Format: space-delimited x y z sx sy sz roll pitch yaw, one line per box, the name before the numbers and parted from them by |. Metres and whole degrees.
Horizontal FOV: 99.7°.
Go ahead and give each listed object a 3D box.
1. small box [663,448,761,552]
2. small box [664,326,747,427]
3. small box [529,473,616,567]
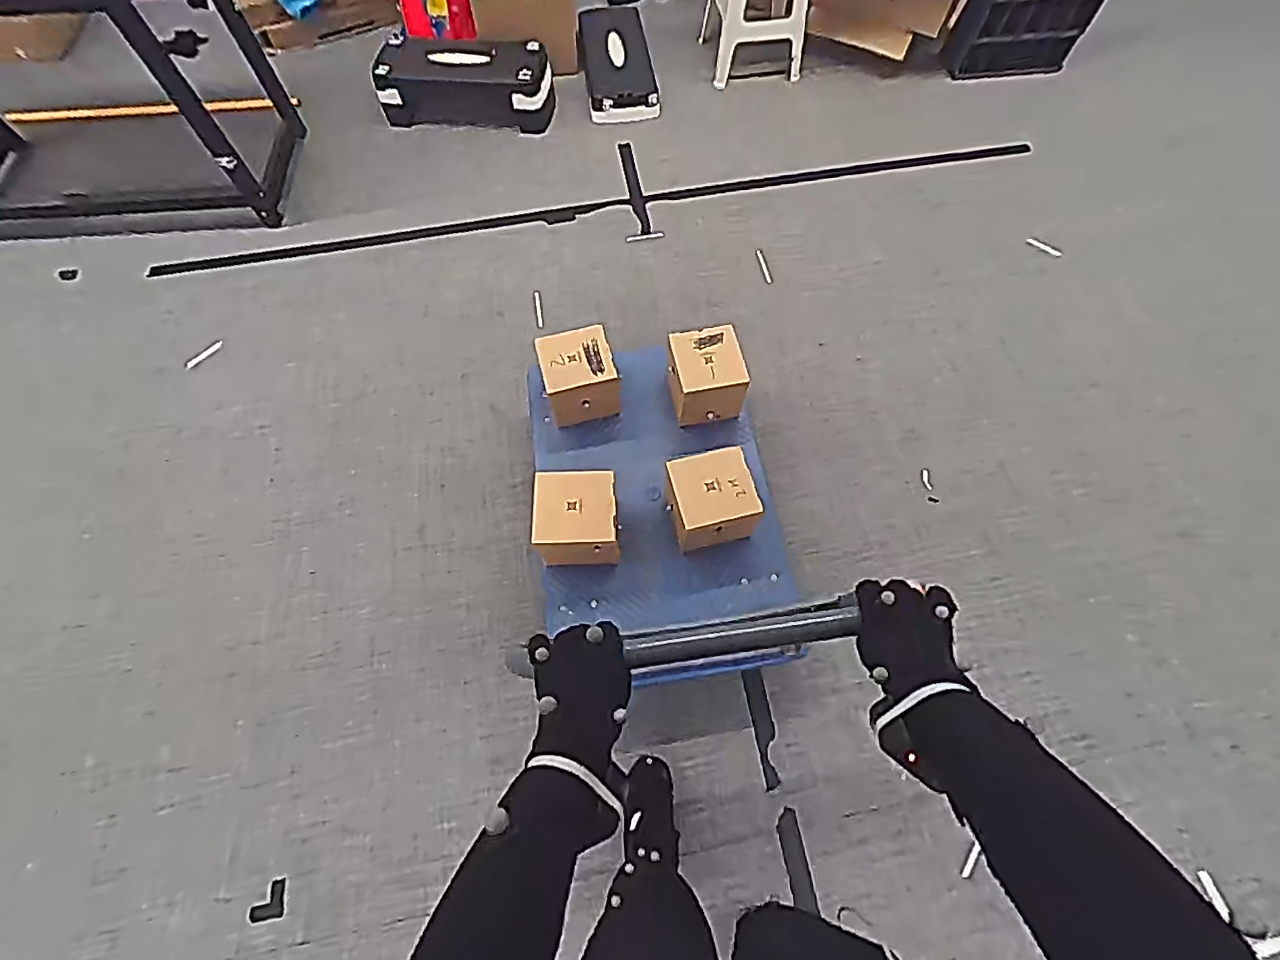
small box | 0.155 0.051 1.235 0.179 0.176 0.168 -13 67 -5
small box | 0.158 -0.259 1.373 0.168 0.176 0.179 -11 67 -4
small box | -0.145 0.095 1.218 0.179 0.176 0.168 -2 65 -2
